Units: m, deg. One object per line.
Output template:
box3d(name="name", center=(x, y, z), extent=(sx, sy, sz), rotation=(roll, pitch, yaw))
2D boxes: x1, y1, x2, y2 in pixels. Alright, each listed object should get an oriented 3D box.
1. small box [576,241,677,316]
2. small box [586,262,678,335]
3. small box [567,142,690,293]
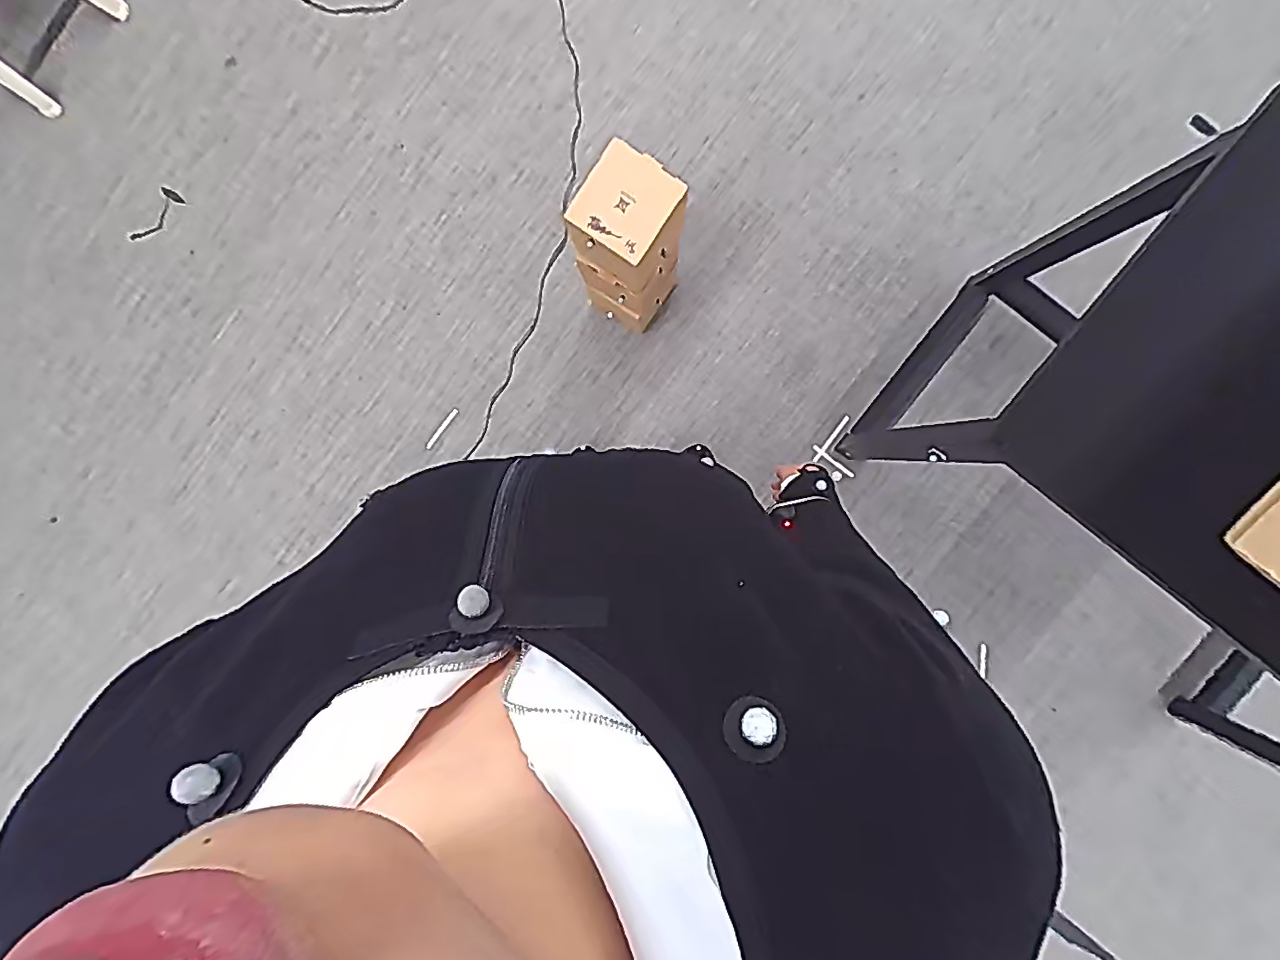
box3d(name="small box", center=(-0.023, -0.504, 1.236), extent=(0.168, 0.176, 0.179), rotation=(31, 92, 0))
box3d(name="small box", center=(-0.019, -0.504, 1.398), extent=(0.168, 0.176, 0.179), rotation=(35, 94, 1))
box3d(name="small box", center=(-0.022, -0.507, 1.071), extent=(0.168, 0.176, 0.179), rotation=(34, 92, 1))
